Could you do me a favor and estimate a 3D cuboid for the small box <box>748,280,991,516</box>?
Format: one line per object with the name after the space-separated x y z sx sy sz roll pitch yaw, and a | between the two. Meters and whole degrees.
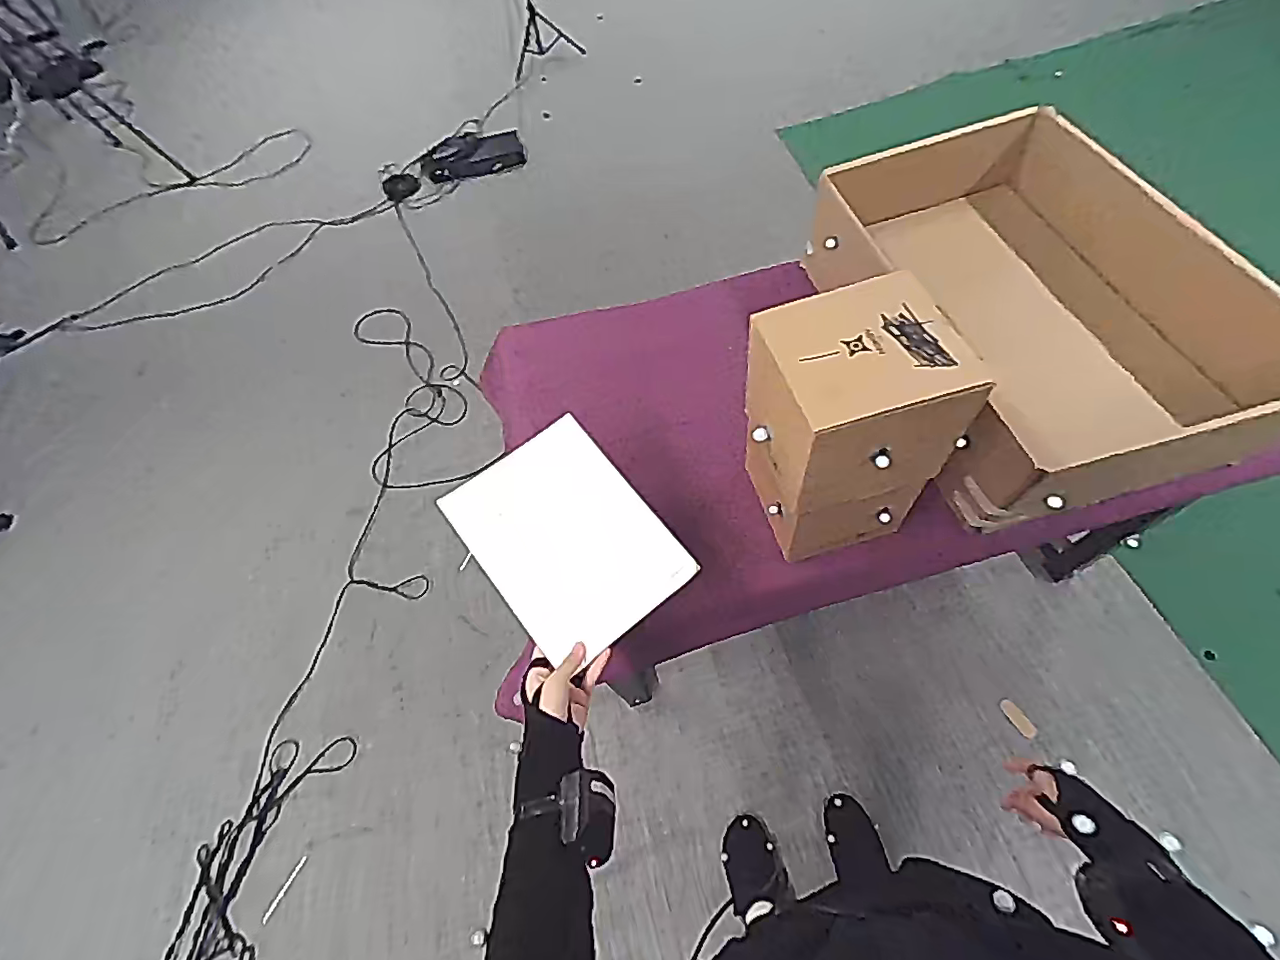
0.229 -0.083 0.597 0.179 0.176 0.168 -16 57 0 | small box

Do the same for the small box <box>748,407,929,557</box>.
0.255 -0.009 0.742 0.168 0.176 0.179 -16 57 -1 | small box
